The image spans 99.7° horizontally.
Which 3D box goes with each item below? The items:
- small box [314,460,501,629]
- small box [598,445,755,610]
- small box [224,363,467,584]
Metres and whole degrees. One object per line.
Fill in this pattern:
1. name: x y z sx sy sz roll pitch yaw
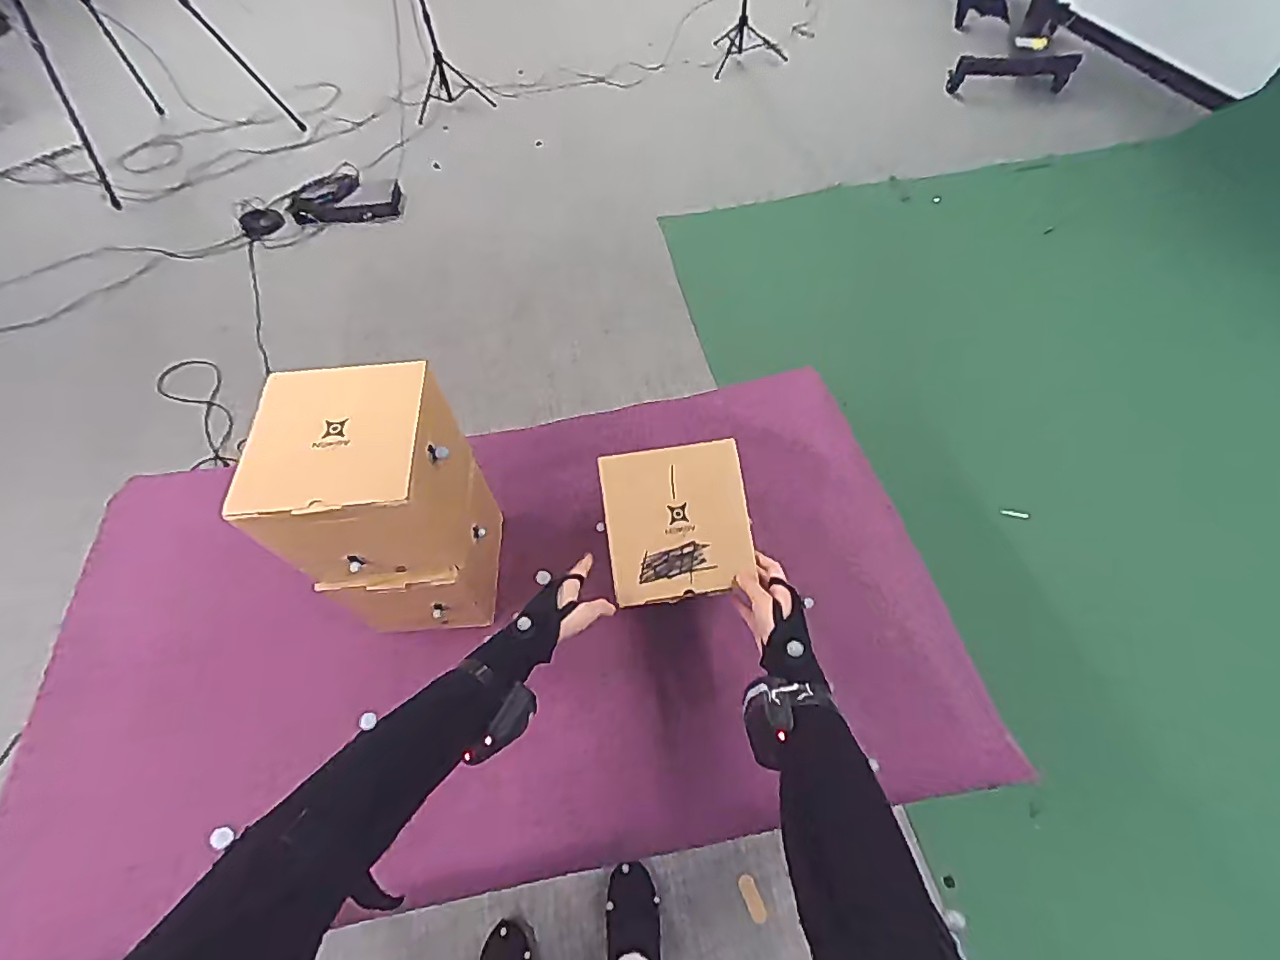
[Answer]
1. small box: -0.291 0.093 0.723 0.168 0.176 0.179 -3 57 0
2. small box: 0.040 0.061 0.697 0.168 0.176 0.179 -7 83 -3
3. small box: -0.296 -0.003 0.593 0.168 0.176 0.179 -5 58 -3
